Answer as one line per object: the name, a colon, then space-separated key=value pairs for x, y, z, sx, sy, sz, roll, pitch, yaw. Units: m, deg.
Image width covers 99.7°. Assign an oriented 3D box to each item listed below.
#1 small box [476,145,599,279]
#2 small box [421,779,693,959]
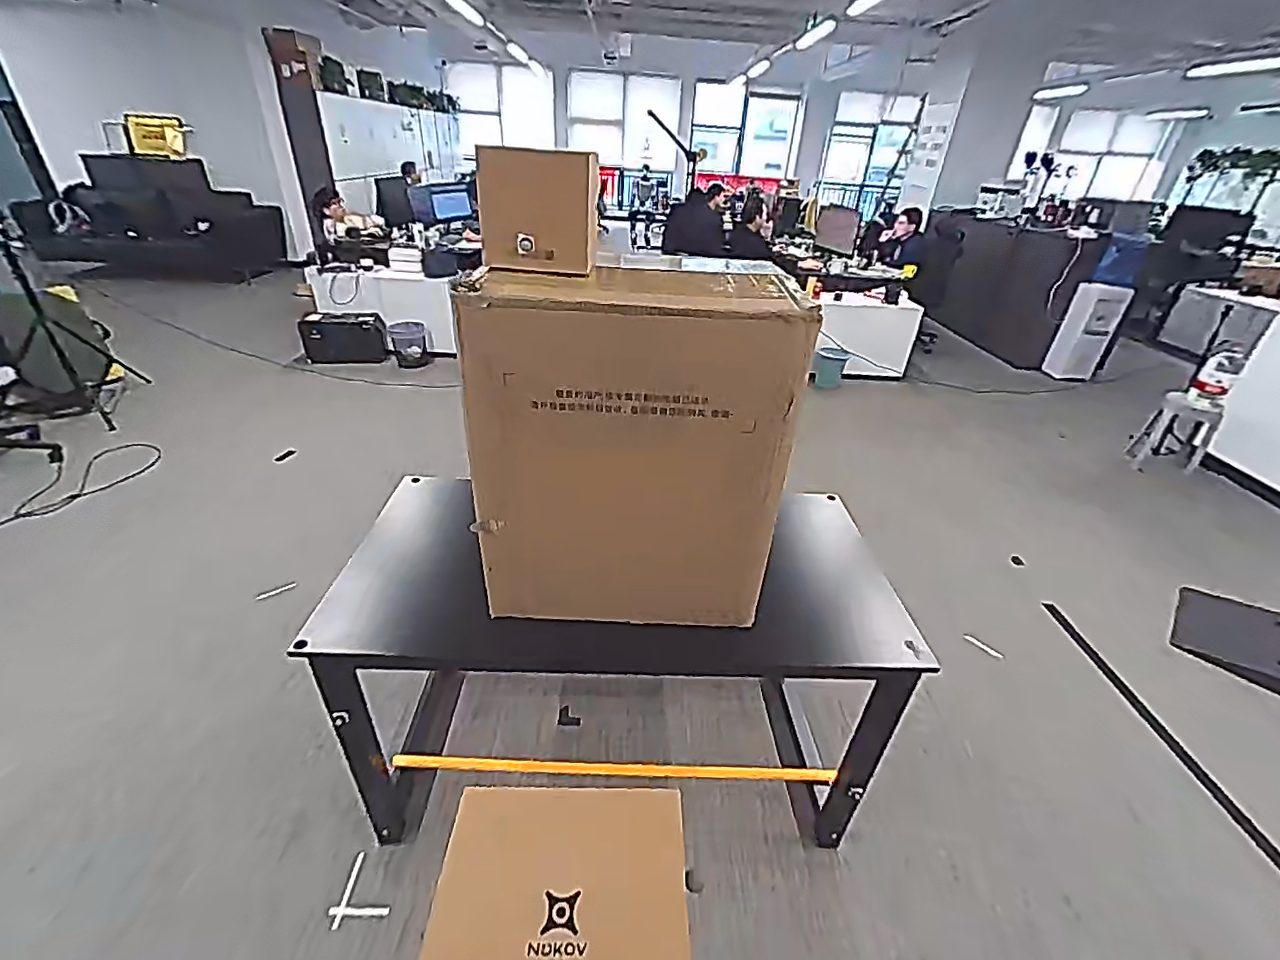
small box: x=-0.154 y=-0.431 z=0.868 sx=0.168 sy=0.176 sz=0.179 roll=2 pitch=31 yaw=-2
small box: x=-0.051 y=0.345 z=0.384 sx=0.168 sy=0.176 sz=0.179 roll=1 pitch=33 yaw=0
